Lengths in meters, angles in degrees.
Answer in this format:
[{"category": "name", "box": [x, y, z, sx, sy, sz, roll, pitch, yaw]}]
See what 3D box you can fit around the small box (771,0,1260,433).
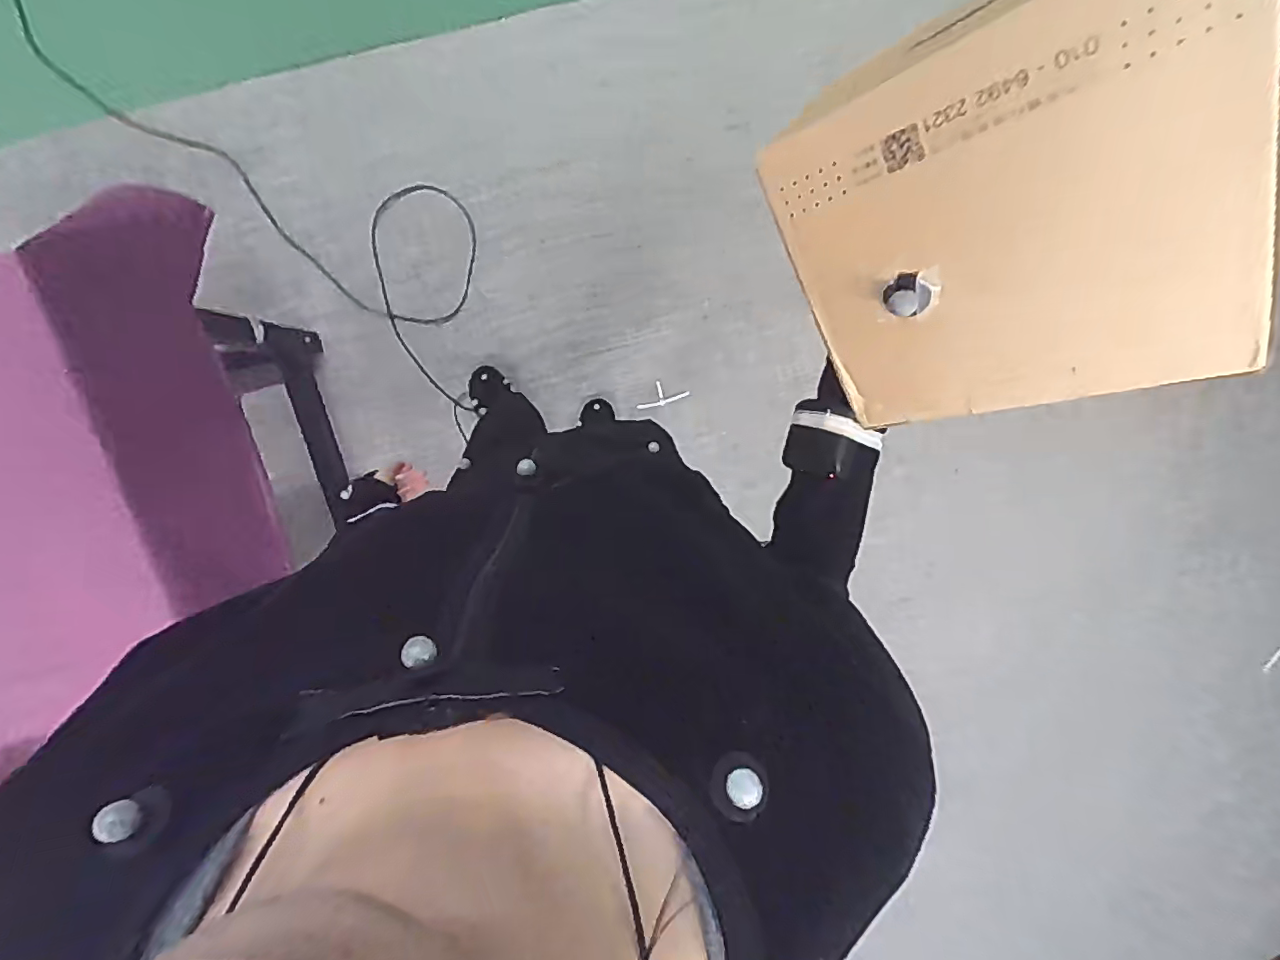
[{"category": "small box", "box": [0.192, -0.153, 0.292, 0.176, 0.168, 0.179, 57, 48, -27]}]
